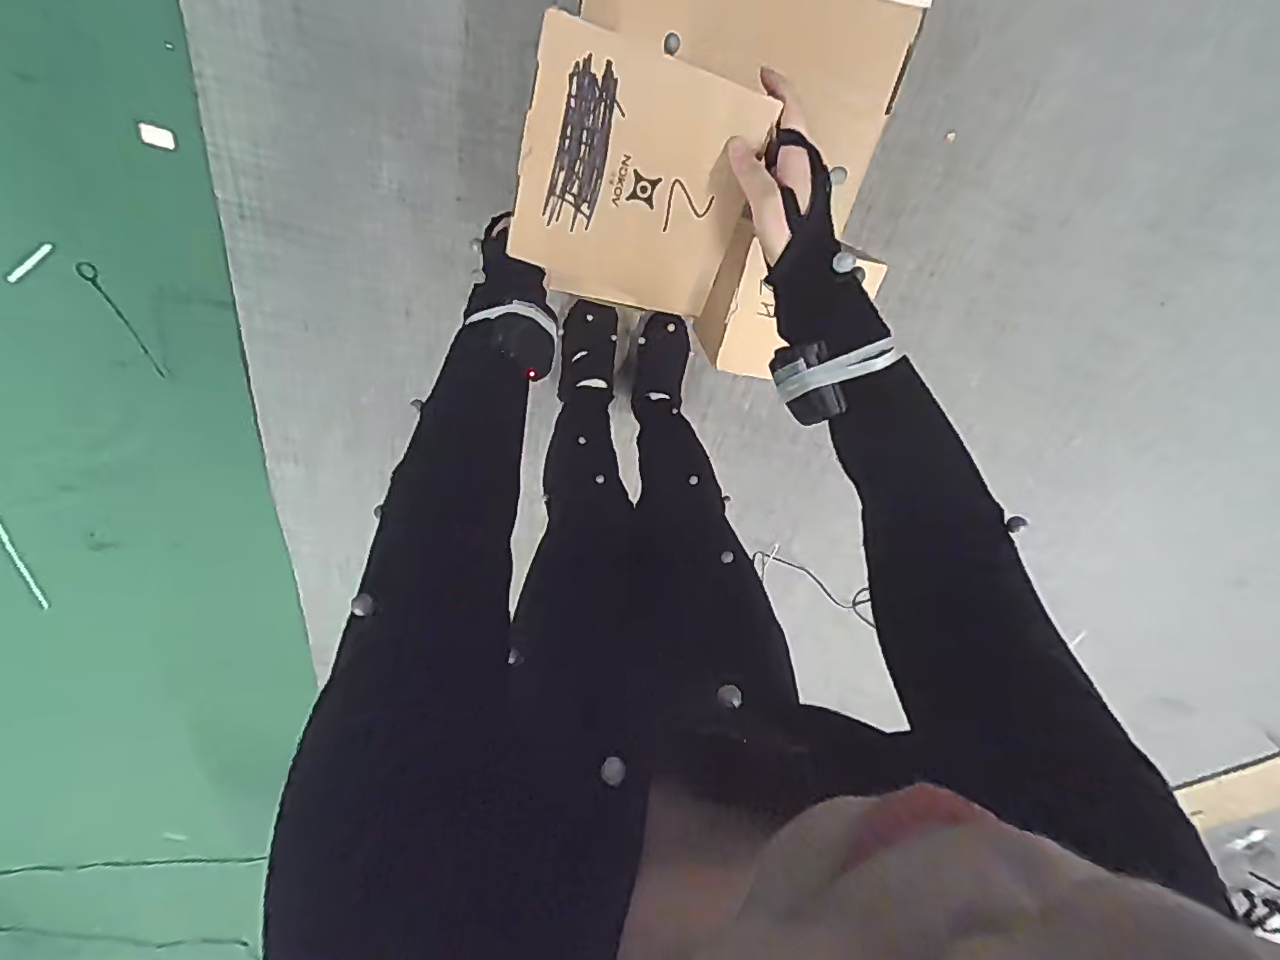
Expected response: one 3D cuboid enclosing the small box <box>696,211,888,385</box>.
[{"bbox_3d":[0.188,-0.251,0.732,0.179,0.176,0.168,9,123,-10],"label":"small box"}]
